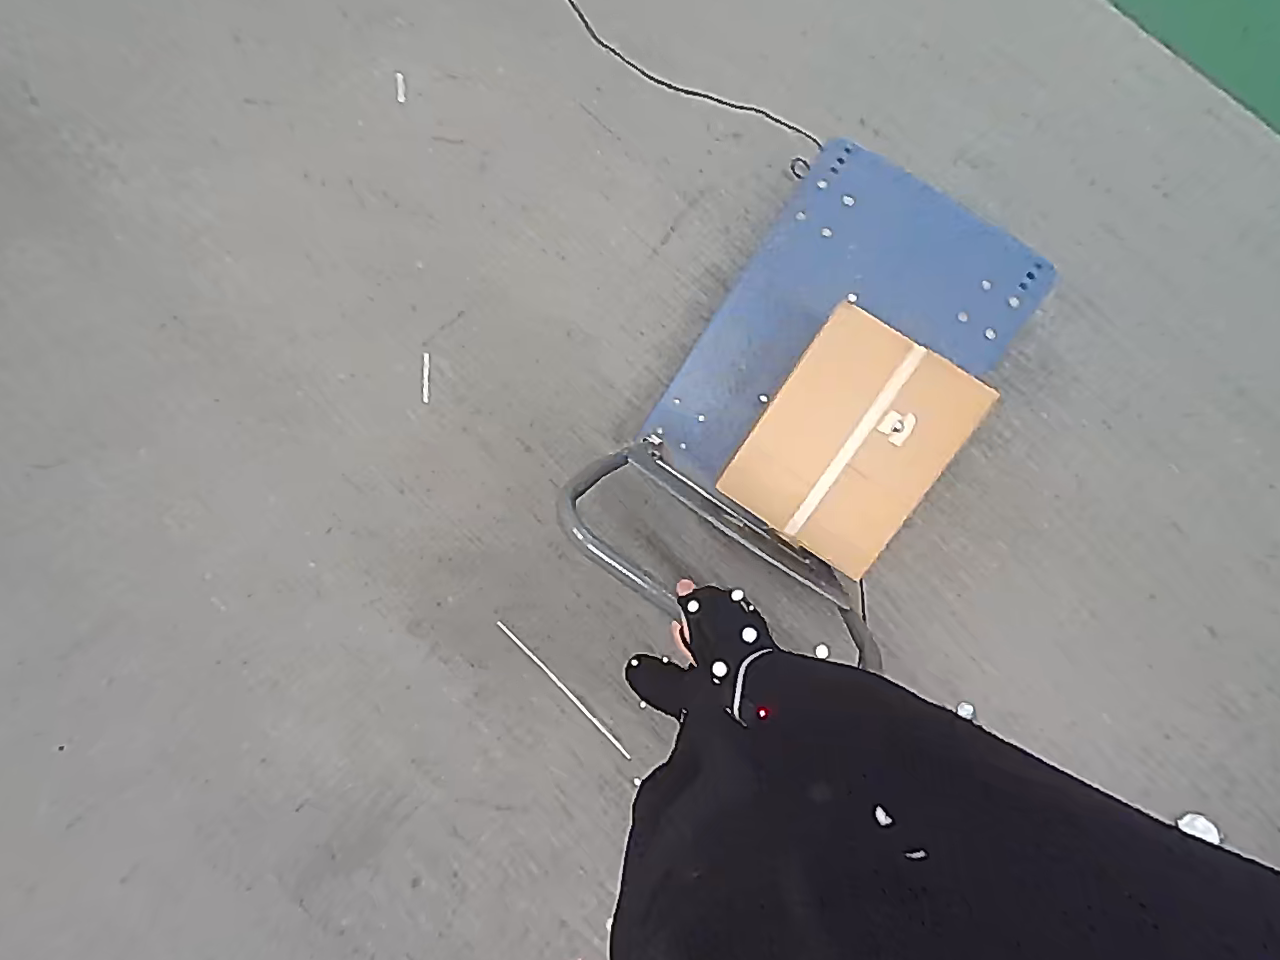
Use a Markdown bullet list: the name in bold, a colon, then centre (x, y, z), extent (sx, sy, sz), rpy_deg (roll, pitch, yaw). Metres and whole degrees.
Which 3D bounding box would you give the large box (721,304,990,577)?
- **large box**: centre (0.400, -0.075, 1.118), extent (0.320, 0.320, 0.408), rpy_deg (33, 98, 4)
